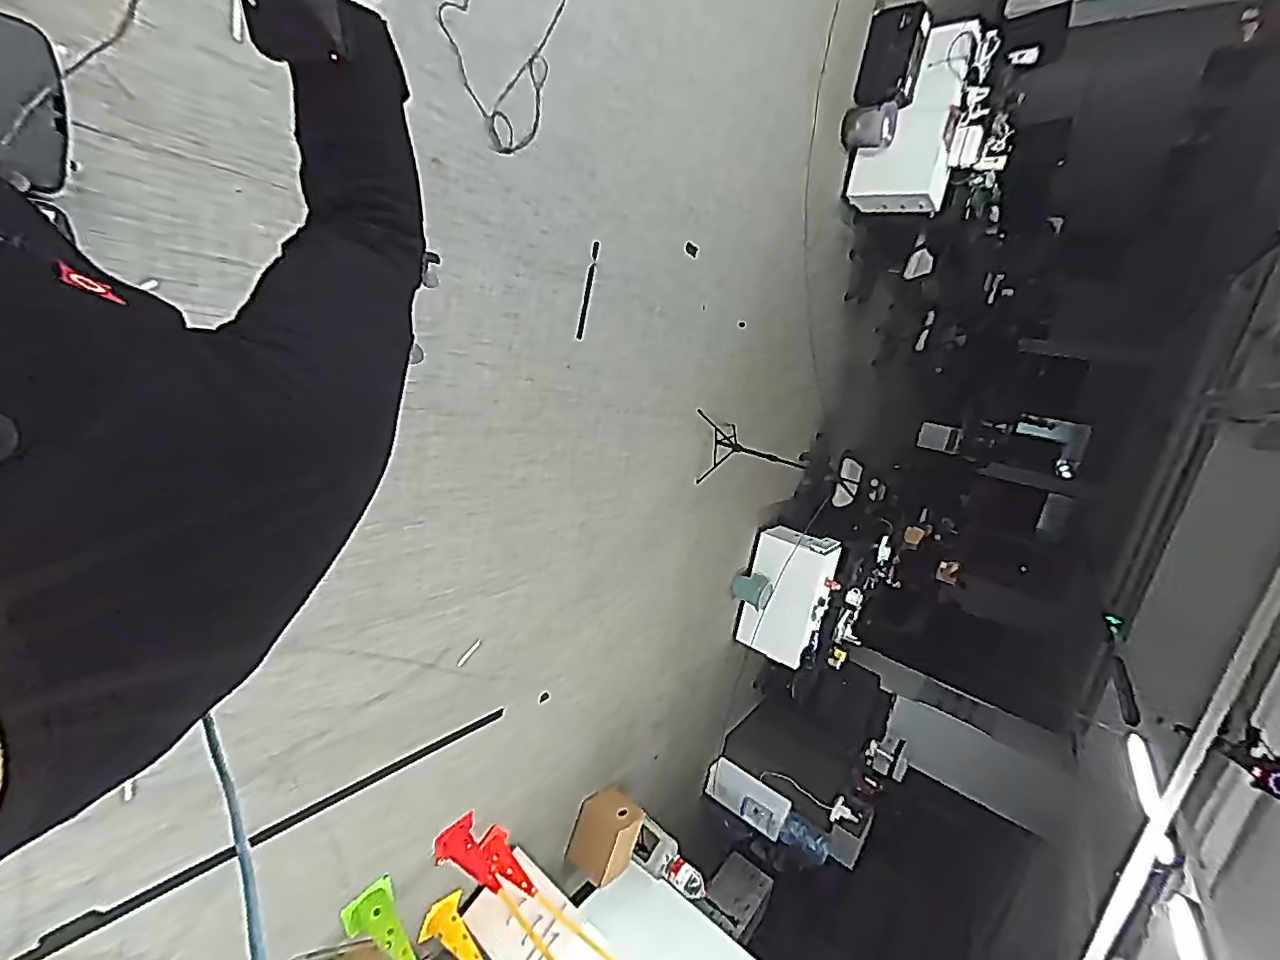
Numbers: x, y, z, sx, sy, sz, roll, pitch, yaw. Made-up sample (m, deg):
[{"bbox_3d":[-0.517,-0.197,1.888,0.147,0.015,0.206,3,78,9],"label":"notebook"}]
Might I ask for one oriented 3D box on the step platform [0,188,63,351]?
[{"bbox_3d":[-1.347,-0.360,0.793,0.684,0.204,0.286,-9,114,-51],"label":"step platform"}]
